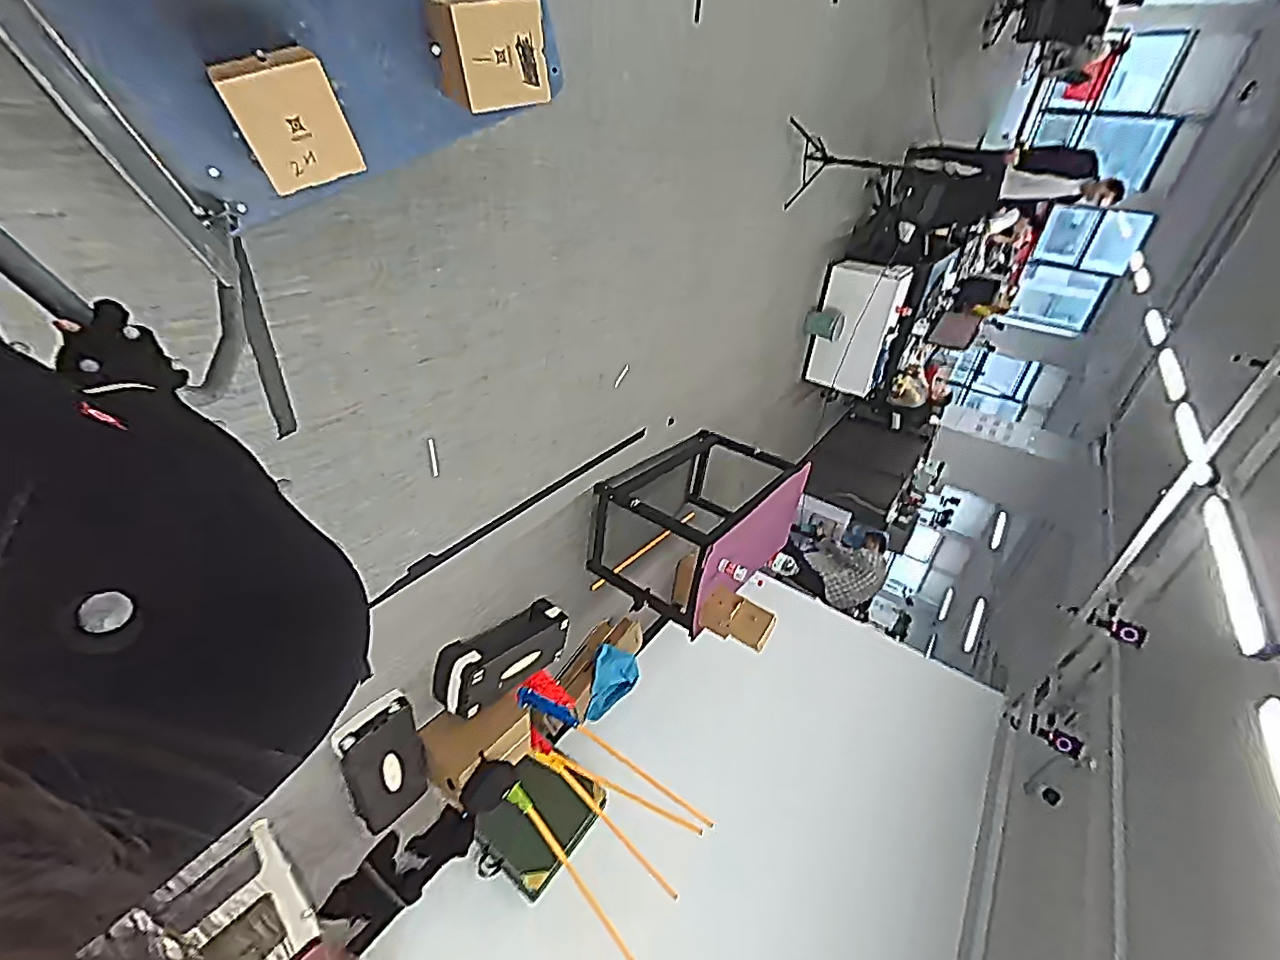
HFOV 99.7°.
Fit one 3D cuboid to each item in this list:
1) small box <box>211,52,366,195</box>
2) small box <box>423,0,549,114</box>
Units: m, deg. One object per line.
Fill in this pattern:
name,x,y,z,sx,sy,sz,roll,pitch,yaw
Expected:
small box,-0.636,-0.652,0.980,0.168,0.176,0.179,-29,142,-17
small box,-0.305,-0.859,1.082,0.179,0.176,0.168,-25,141,-21
